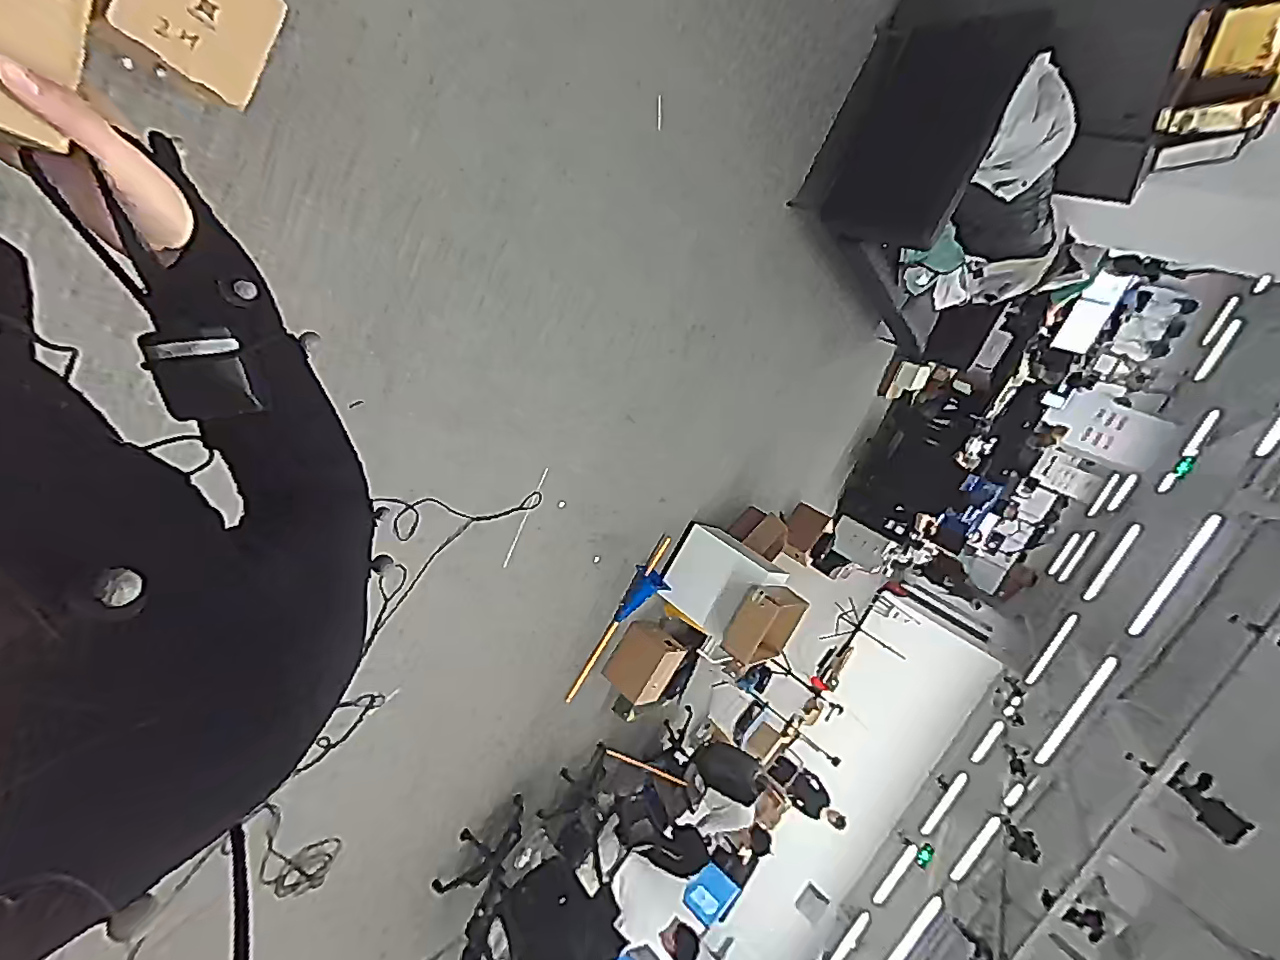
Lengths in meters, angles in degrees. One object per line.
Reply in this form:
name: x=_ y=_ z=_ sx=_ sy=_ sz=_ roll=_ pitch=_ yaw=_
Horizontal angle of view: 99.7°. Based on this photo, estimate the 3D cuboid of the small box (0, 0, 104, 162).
small box: x=-0.375 y=-0.275 z=0.226 sx=0.168 sy=0.176 sz=0.179 roll=-3 pitch=113 yaw=-70

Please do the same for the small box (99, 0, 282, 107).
small box: x=-0.682 y=-0.705 z=0.805 sx=0.168 sy=0.176 sz=0.179 roll=18 pitch=103 yaw=-57

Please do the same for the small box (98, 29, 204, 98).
small box: x=-0.803 y=-0.780 z=0.889 sx=0.179 sy=0.176 sz=0.168 roll=-59 pitch=149 yaw=6
